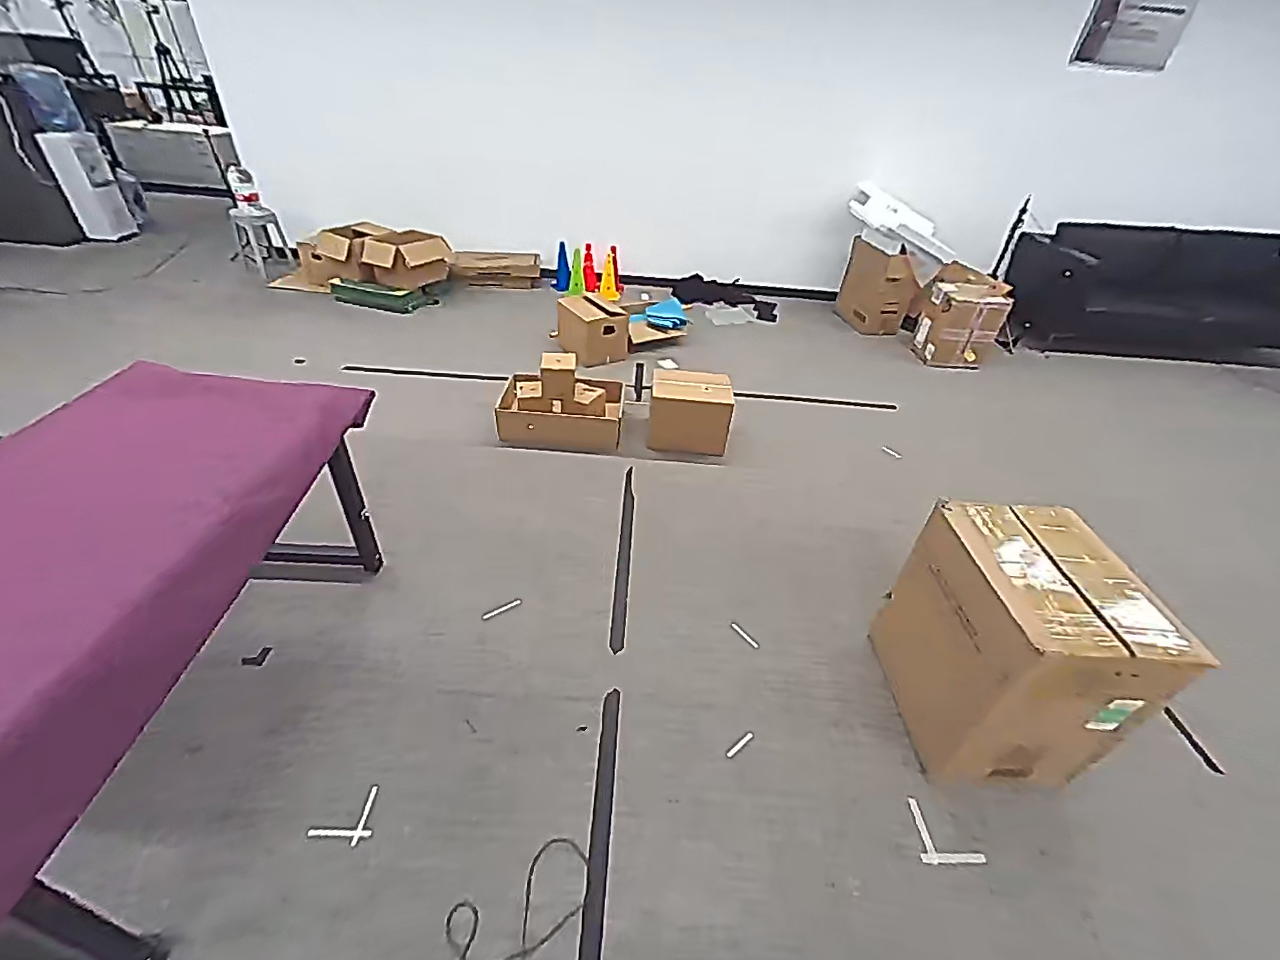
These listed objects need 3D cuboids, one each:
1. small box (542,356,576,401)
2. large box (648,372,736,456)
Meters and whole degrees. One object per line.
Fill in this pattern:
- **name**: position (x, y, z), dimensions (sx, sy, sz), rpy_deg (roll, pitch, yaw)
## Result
- **small box**: position (-0.401, -0.507, 2.700), dimensions (0.168, 0.176, 0.179), rpy_deg (1, 36, -8)
- **large box**: position (0.254, -0.341, 2.803), dimensions (0.408, 0.320, 0.320), rpy_deg (5, 38, -2)
